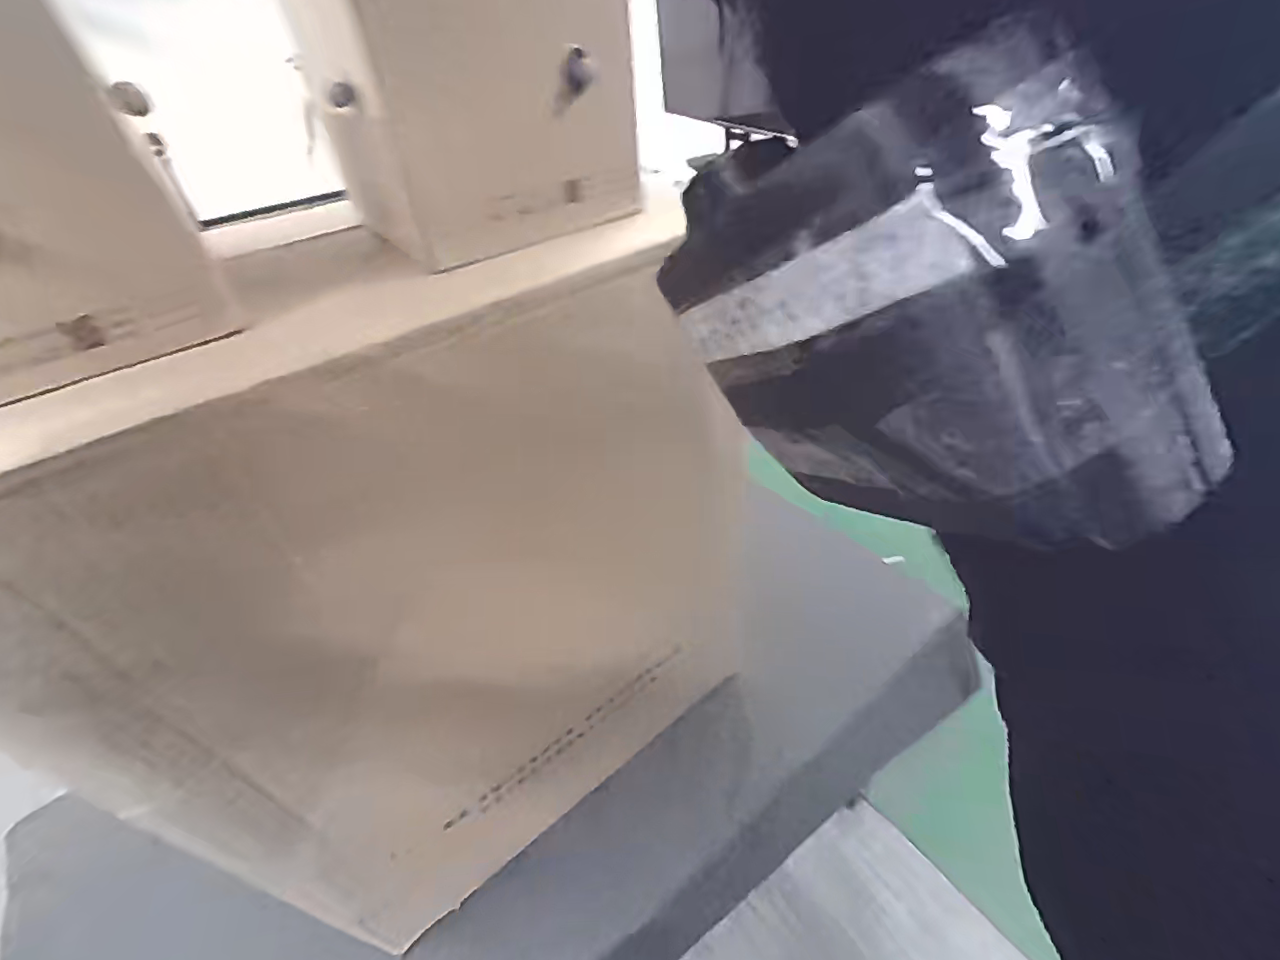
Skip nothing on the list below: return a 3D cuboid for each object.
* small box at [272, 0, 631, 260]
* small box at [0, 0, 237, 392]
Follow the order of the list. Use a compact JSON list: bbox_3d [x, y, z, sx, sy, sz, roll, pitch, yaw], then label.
[{"bbox_3d":[-0.119,-0.263,0.366,0.168,0.176,0.179,-28,45,-27],"label":"small box"},{"bbox_3d":[-0.329,-0.148,0.253,0.168,0.176,0.179,-30,48,-25],"label":"small box"}]
